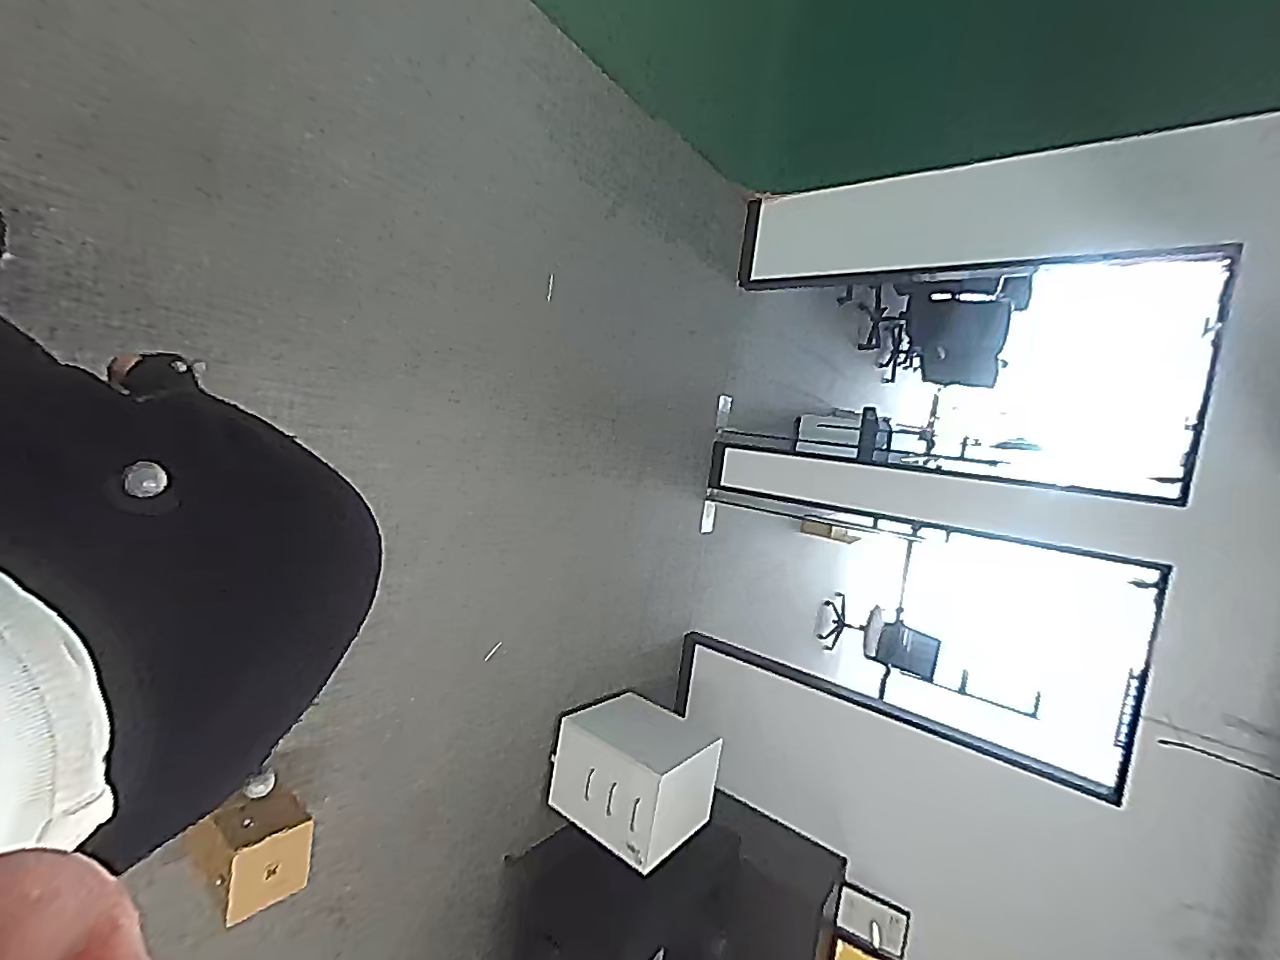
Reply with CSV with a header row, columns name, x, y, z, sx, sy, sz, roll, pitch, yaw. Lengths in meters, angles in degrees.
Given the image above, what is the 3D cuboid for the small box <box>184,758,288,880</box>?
name,x,y,z,sx,sy,sz,roll,pitch,yaw
small box,-1.041,0.859,1.390,0.168,0.176,0.179,5,95,-55

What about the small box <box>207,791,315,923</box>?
name,x,y,z,sx,sy,sz,roll,pitch,yaw
small box,-0.911,0.885,1.297,0.168,0.176,0.179,1,99,-54
